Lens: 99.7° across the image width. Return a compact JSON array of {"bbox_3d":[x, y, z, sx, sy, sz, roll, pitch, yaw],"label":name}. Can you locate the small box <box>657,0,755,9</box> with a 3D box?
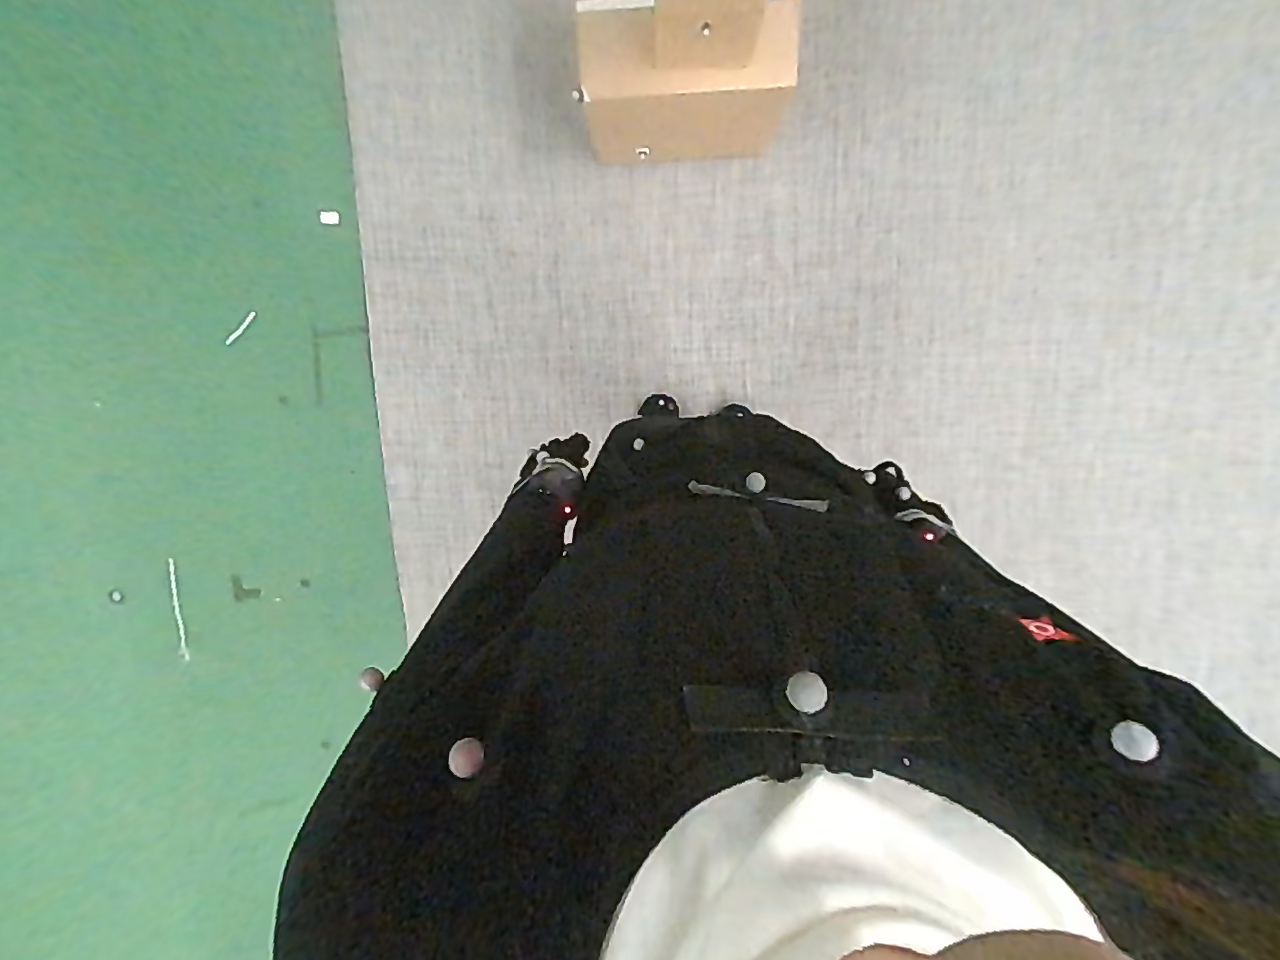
[{"bbox_3d":[0.106,-0.791,0.737,0.179,0.176,0.168,0,101,5],"label":"small box"}]

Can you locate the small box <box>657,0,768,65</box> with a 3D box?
[{"bbox_3d":[0.116,-0.826,0.897,0.179,0.176,0.168,-2,101,3],"label":"small box"}]
